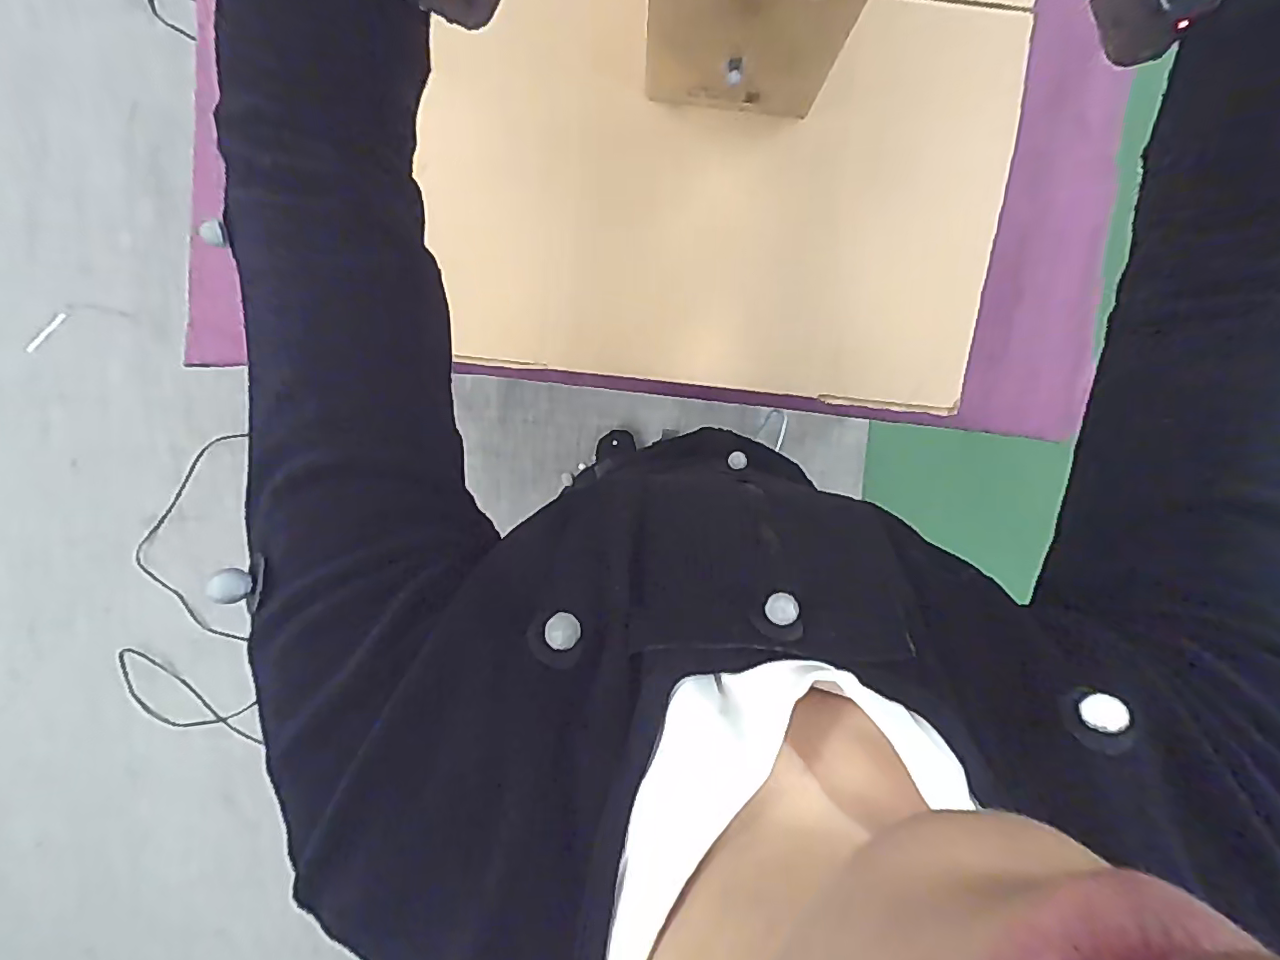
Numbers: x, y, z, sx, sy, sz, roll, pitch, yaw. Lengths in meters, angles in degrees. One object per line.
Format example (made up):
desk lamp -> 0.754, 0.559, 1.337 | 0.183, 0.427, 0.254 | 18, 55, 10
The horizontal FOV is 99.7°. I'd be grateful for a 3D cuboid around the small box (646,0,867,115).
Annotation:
small box -> 0.097, -0.453, 0.451 | 0.168, 0.176, 0.179 | 6, 93, -2
